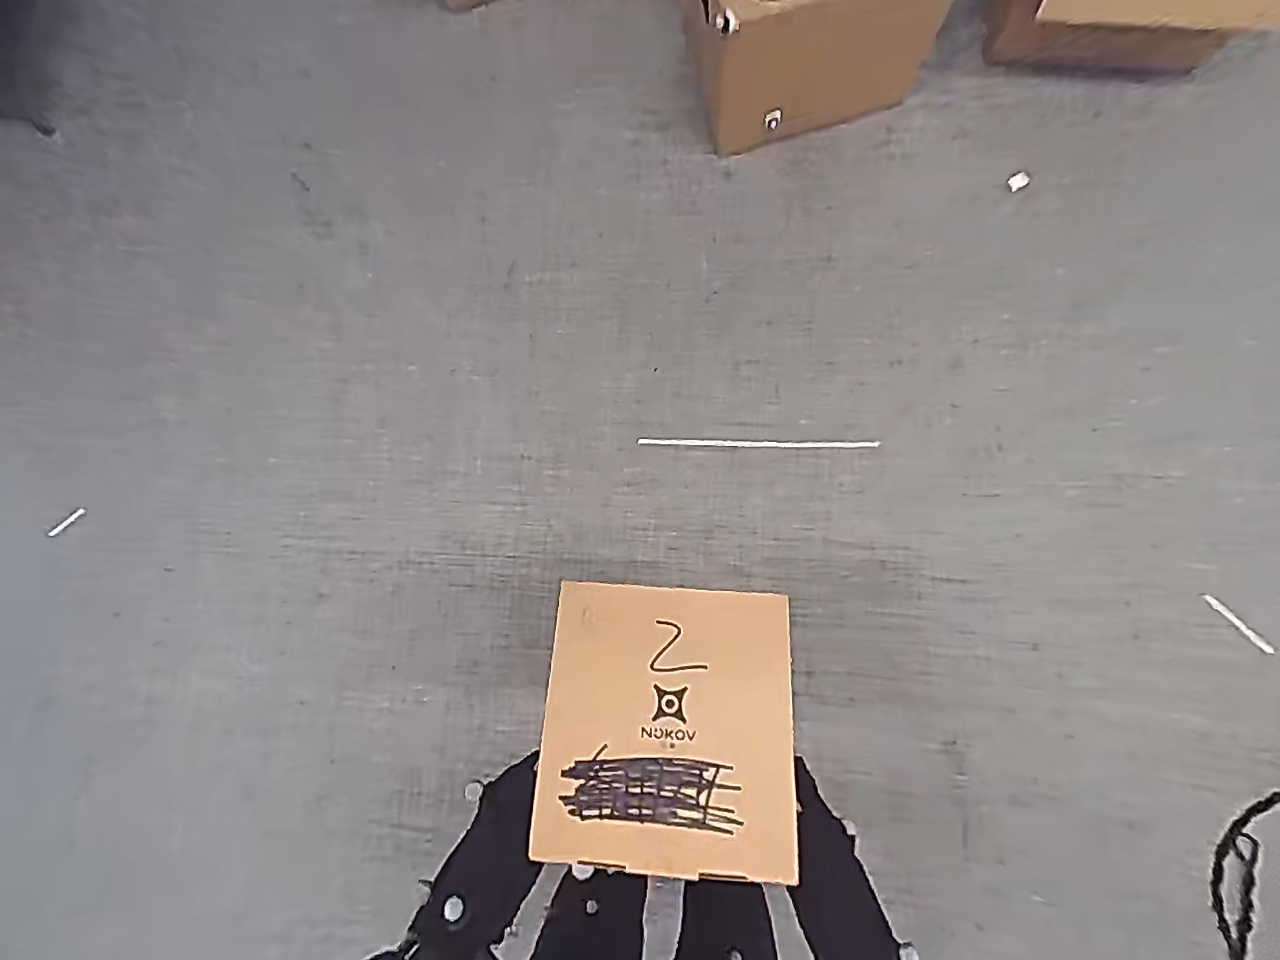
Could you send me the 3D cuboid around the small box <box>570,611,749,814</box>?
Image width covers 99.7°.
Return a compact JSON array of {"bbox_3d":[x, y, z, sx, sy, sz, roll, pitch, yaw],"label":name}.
[{"bbox_3d":[0.023,0.251,0.593,0.168,0.176,0.179,1,65,3],"label":"small box"}]
